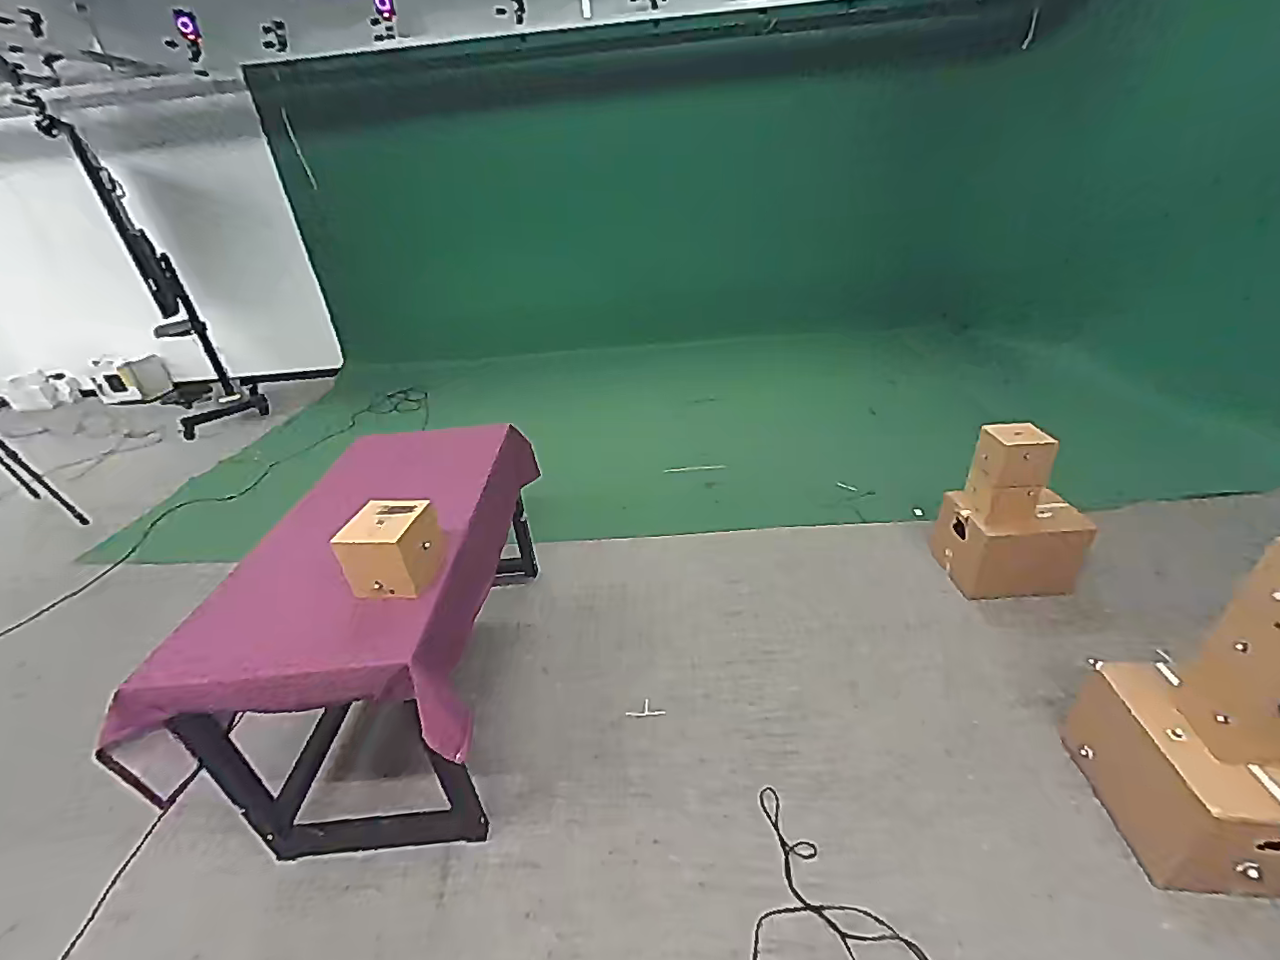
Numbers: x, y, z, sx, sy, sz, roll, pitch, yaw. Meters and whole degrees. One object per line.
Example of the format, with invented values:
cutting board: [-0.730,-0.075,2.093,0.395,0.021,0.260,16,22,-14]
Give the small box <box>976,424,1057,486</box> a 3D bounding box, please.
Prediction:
small box: [1.338,-0.087,1.941,0.179,0.176,0.168,-2,30,3]

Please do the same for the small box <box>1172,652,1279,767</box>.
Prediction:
small box: [1.372,0.517,1.214,0.168,0.176,0.179,3,30,10]

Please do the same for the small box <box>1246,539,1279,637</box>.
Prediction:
small box: [1.355,0.233,1.049,0.179,0.176,0.168,2,31,10]

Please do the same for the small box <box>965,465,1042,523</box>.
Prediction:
small box: [1.352,0.052,2.030,0.179,0.176,0.168,-2,30,3]

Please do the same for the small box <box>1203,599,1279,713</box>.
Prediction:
small box: [1.360,0.376,1.130,0.168,0.176,0.179,4,30,11]

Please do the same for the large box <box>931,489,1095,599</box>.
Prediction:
large box: [1.458,0.251,2.157,0.408,0.320,0.320,-3,30,1]
